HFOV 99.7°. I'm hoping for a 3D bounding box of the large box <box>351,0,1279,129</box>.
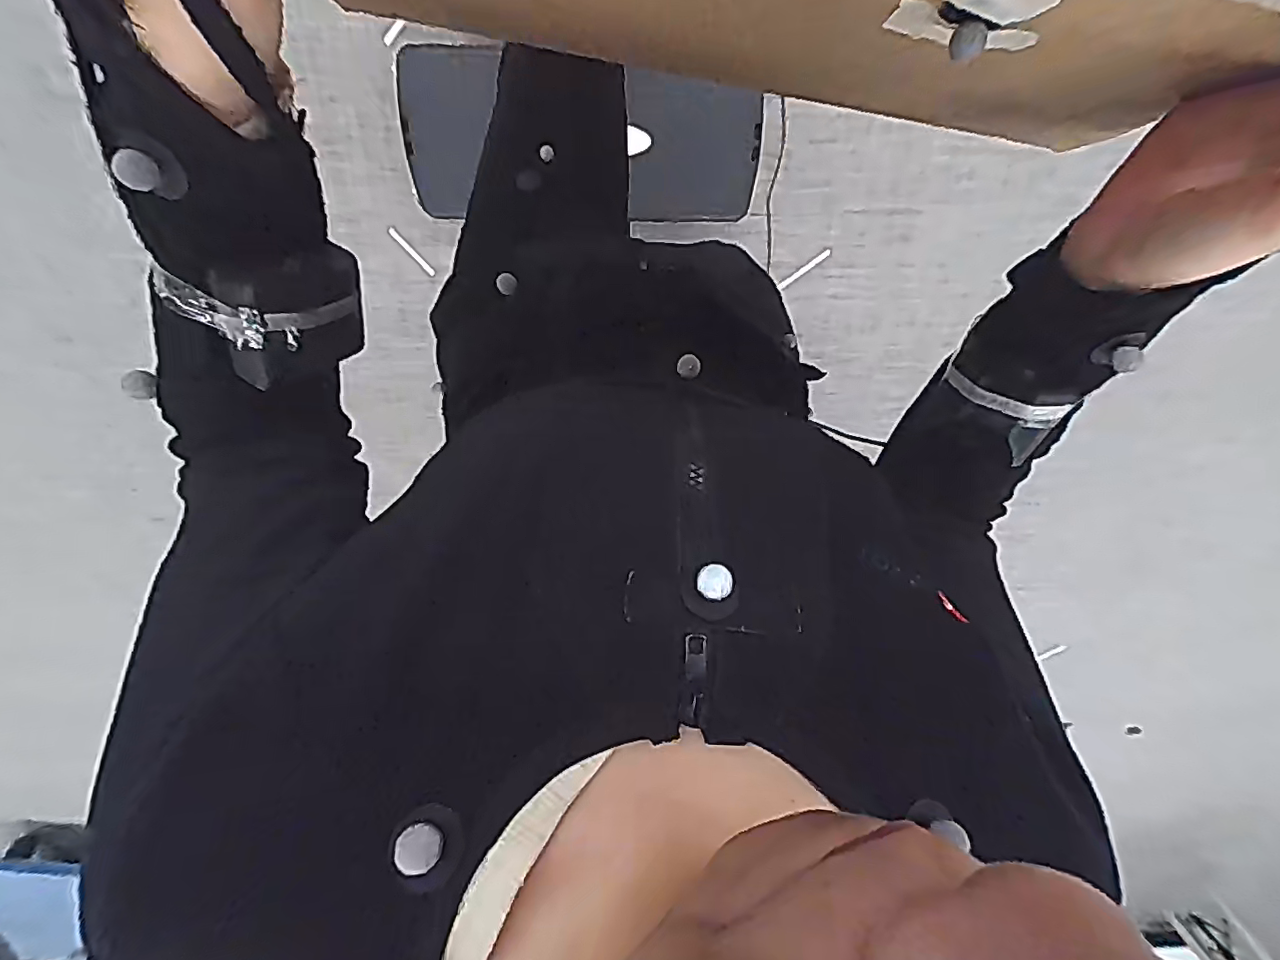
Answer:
[{"bbox_3d":[0.077,-0.324,0.111,0.408,0.320,0.320,5,108,-7],"label":"large box"}]
